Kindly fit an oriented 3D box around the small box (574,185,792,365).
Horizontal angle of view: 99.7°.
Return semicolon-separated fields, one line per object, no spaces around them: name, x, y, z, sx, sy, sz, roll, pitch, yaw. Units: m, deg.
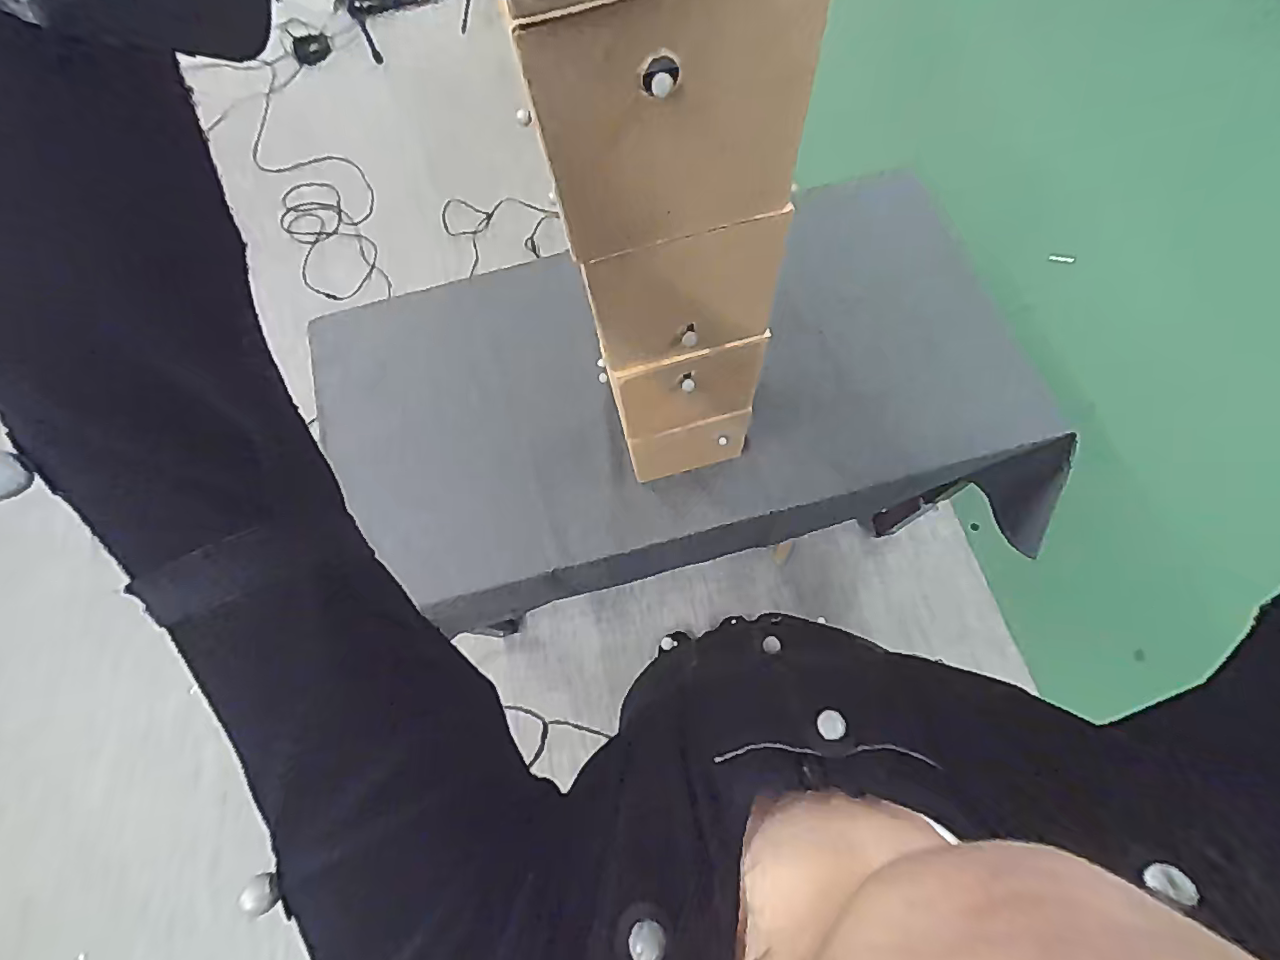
small box;0.026;-0.238;0.529;0.179;0.176;0.168;-14;69;0

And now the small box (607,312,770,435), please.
small box;0.043;-0.178;0.680;0.179;0.176;0.168;-16;70;-1

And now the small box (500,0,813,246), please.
small box;0.006;-0.295;0.376;0.179;0.176;0.168;-15;70;-1
